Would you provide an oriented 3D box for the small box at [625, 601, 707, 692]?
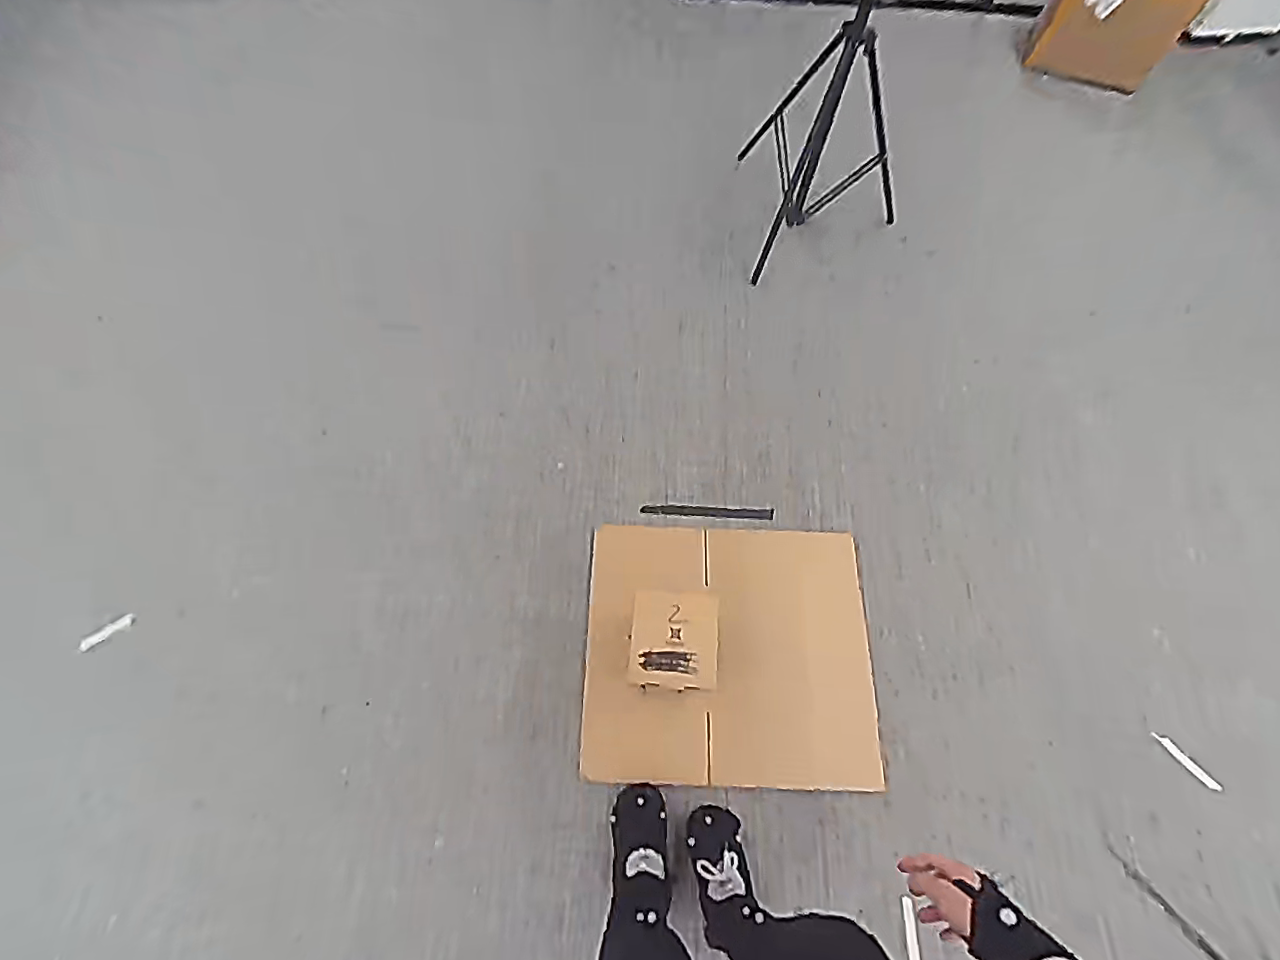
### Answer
[{"bbox_3d":[0.057,0.391,1.252,0.168,0.176,0.179,6,67,0],"label":"small box"}]
